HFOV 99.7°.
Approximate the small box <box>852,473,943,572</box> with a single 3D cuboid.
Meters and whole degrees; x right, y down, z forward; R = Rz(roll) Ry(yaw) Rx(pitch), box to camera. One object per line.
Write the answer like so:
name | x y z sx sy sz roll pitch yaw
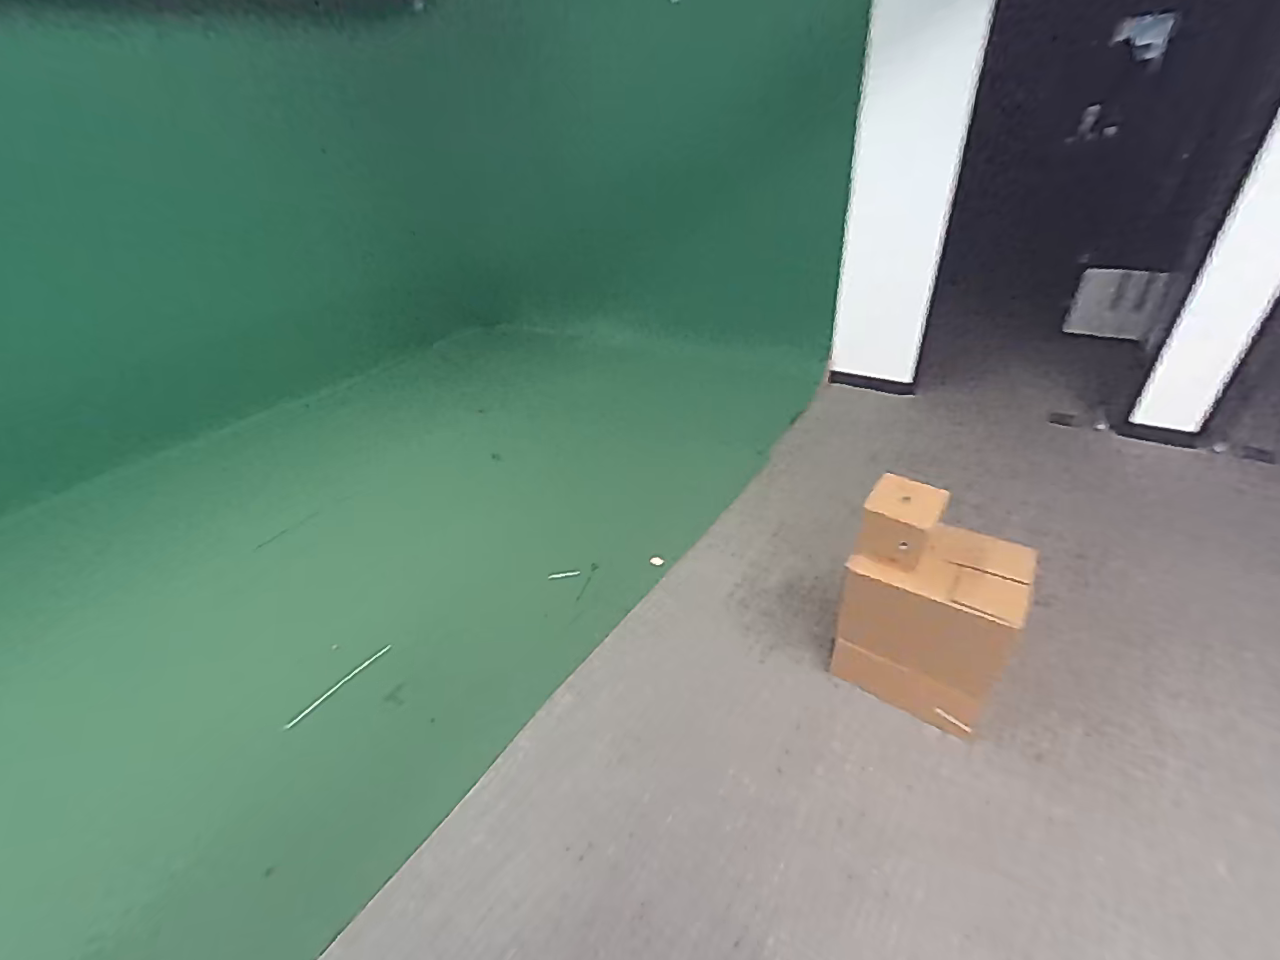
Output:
small box | 0.684 0.114 1.450 0.168 0.176 0.179 22 45 31
